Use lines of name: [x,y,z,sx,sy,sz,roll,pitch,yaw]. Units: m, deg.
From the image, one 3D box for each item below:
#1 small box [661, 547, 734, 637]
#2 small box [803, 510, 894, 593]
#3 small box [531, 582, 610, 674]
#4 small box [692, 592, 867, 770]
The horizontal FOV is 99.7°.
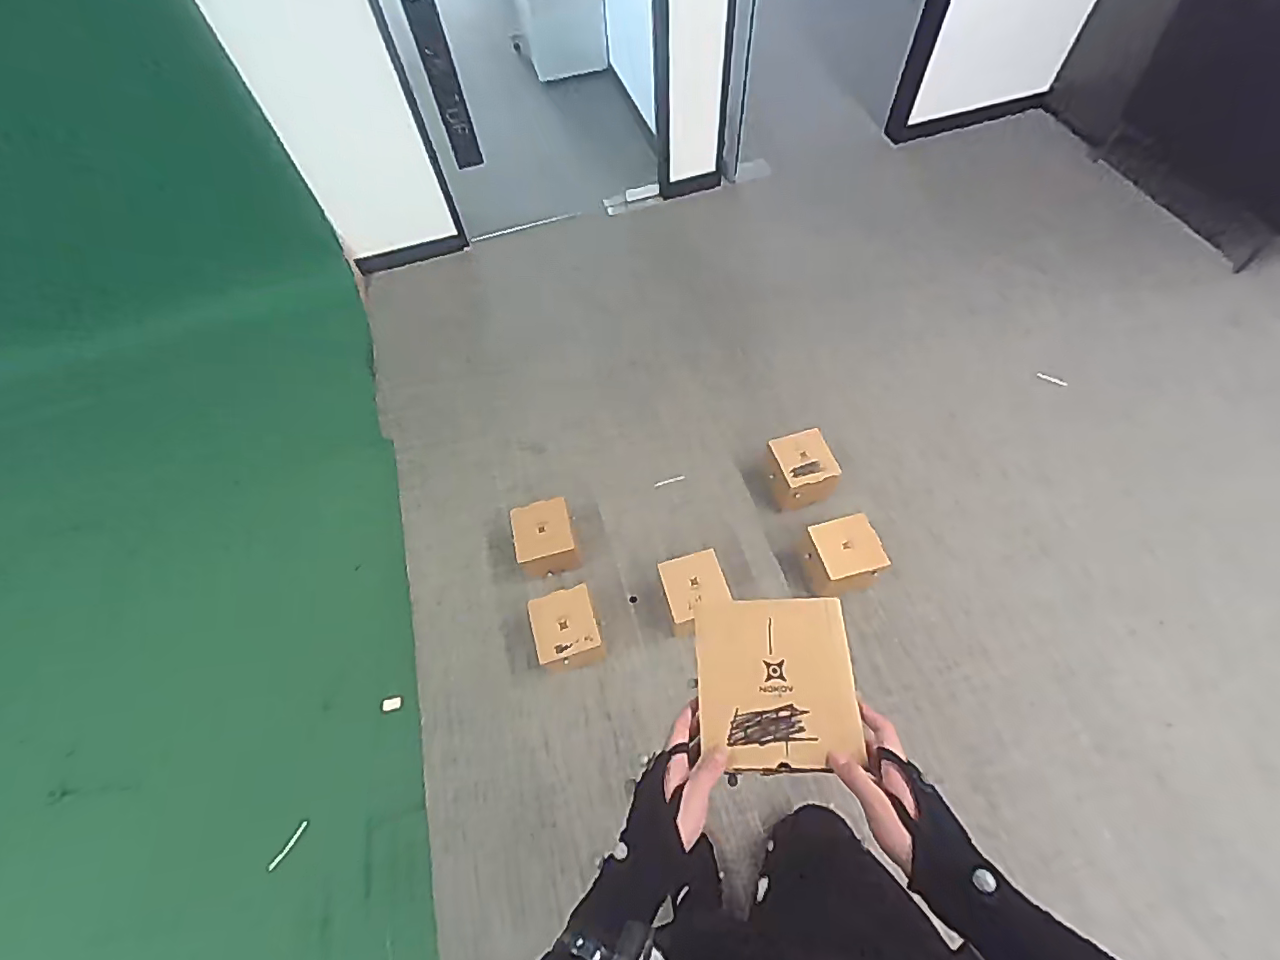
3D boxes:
small box: [0.157,0.314,1.502,0.168,0.176,0.179,-15,60,-4]
small box: [0.579,0.211,1.534,0.179,0.176,0.168,-14,61,-5]
small box: [-0.187,0.407,1.473,0.168,0.176,0.179,-16,60,-5]
small box: [0.151,0.242,0.636,0.168,0.176,0.179,-4,60,7]
